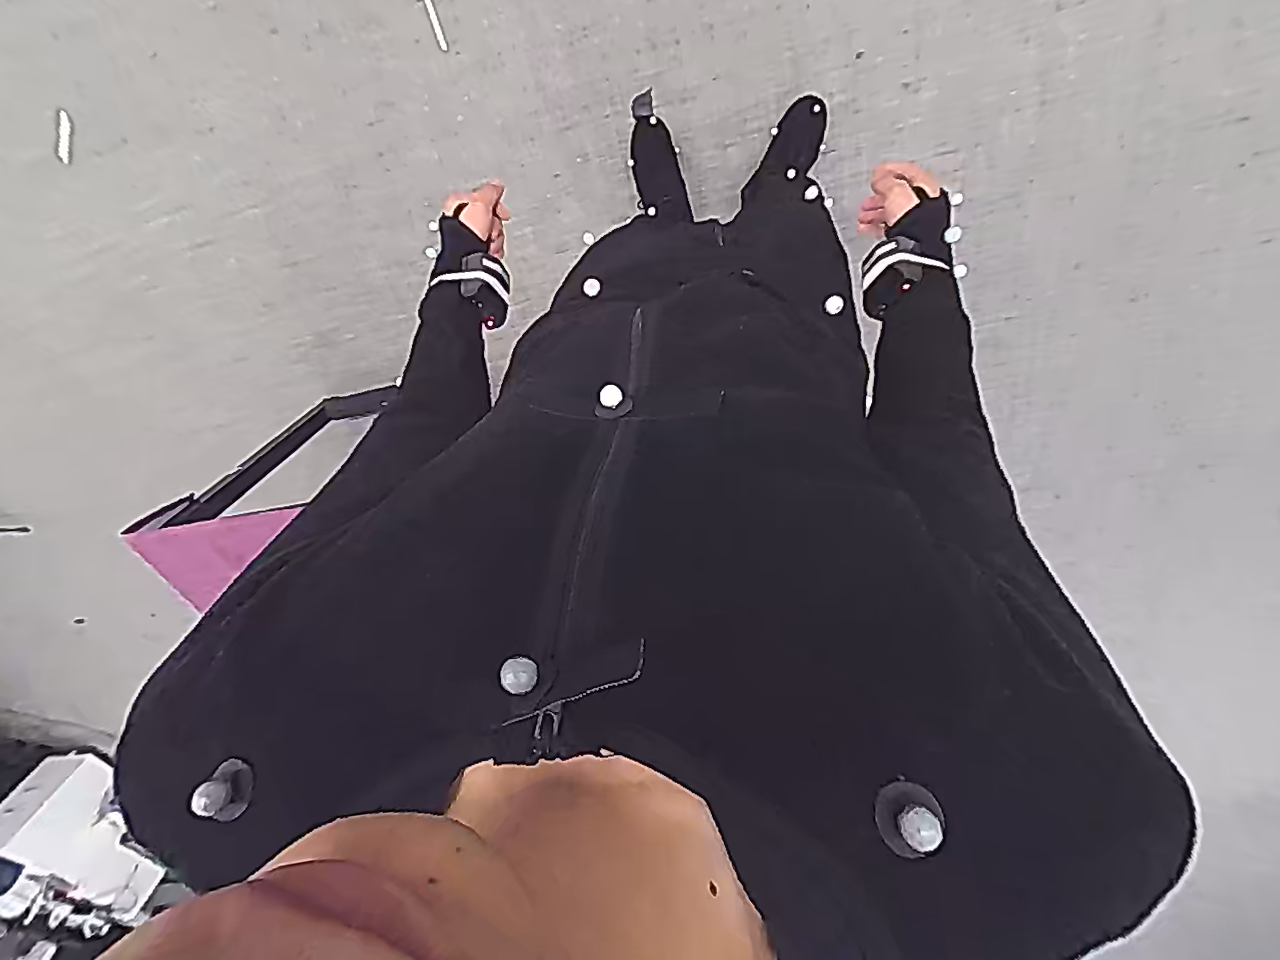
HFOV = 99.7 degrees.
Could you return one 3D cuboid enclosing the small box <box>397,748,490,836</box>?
[{"bbox_3d":[-0.557,0.902,1.569,0.179,0.176,0.168,-16,121,18],"label":"small box"}]
